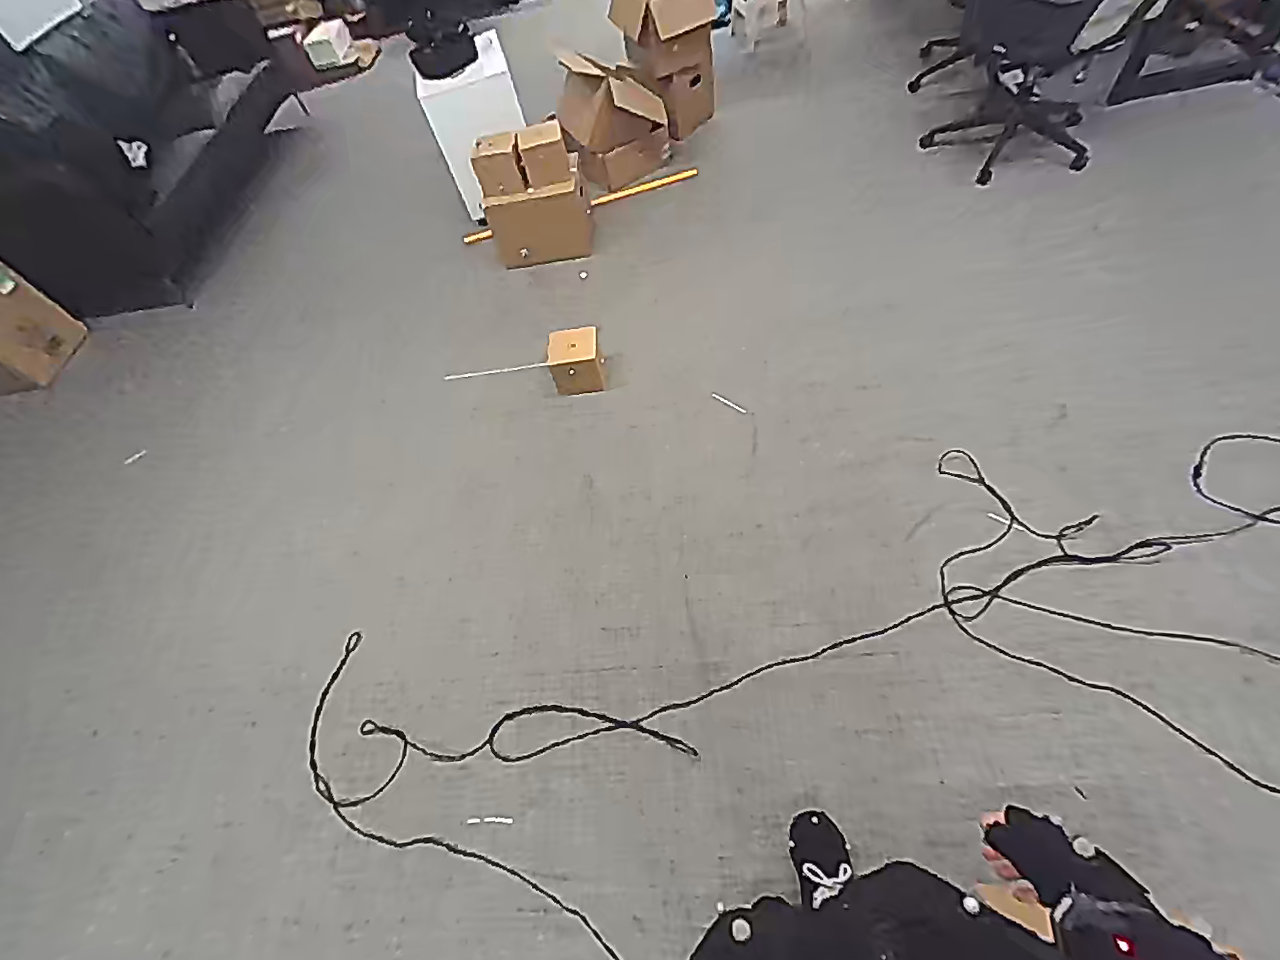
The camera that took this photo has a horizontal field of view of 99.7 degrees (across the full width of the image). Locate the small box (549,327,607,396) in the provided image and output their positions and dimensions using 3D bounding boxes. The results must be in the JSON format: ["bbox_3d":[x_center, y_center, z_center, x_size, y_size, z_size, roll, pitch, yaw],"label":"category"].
[{"bbox_3d":[-0.220,-0.428,1.970,0.179,0.176,0.168,-8,57,7],"label":"small box"}]
